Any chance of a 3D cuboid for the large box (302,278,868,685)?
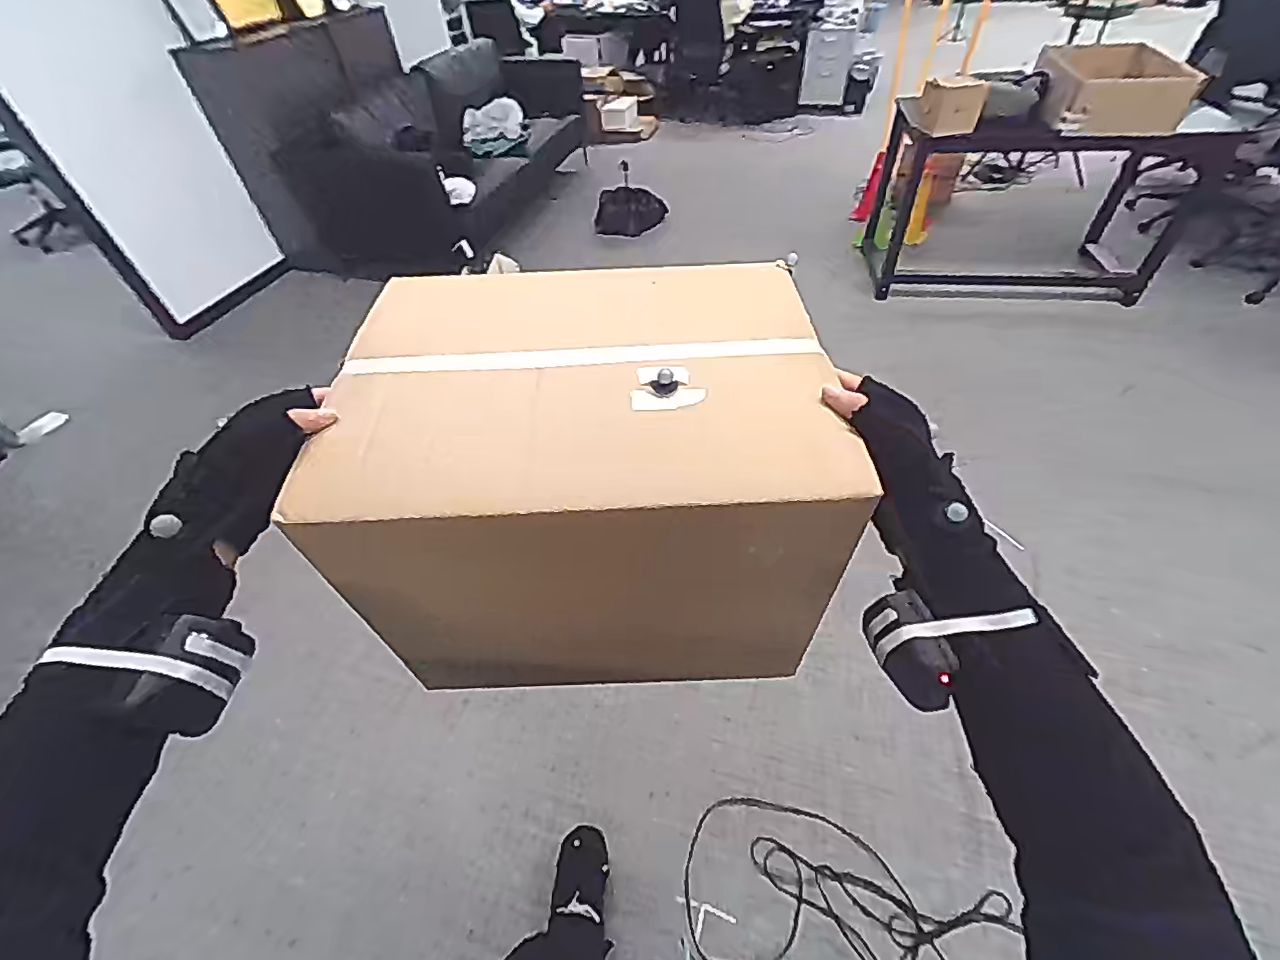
[{"bbox_3d":[-0.041,0.006,0.582,0.408,0.320,0.320,-2,49,0],"label":"large box"}]
